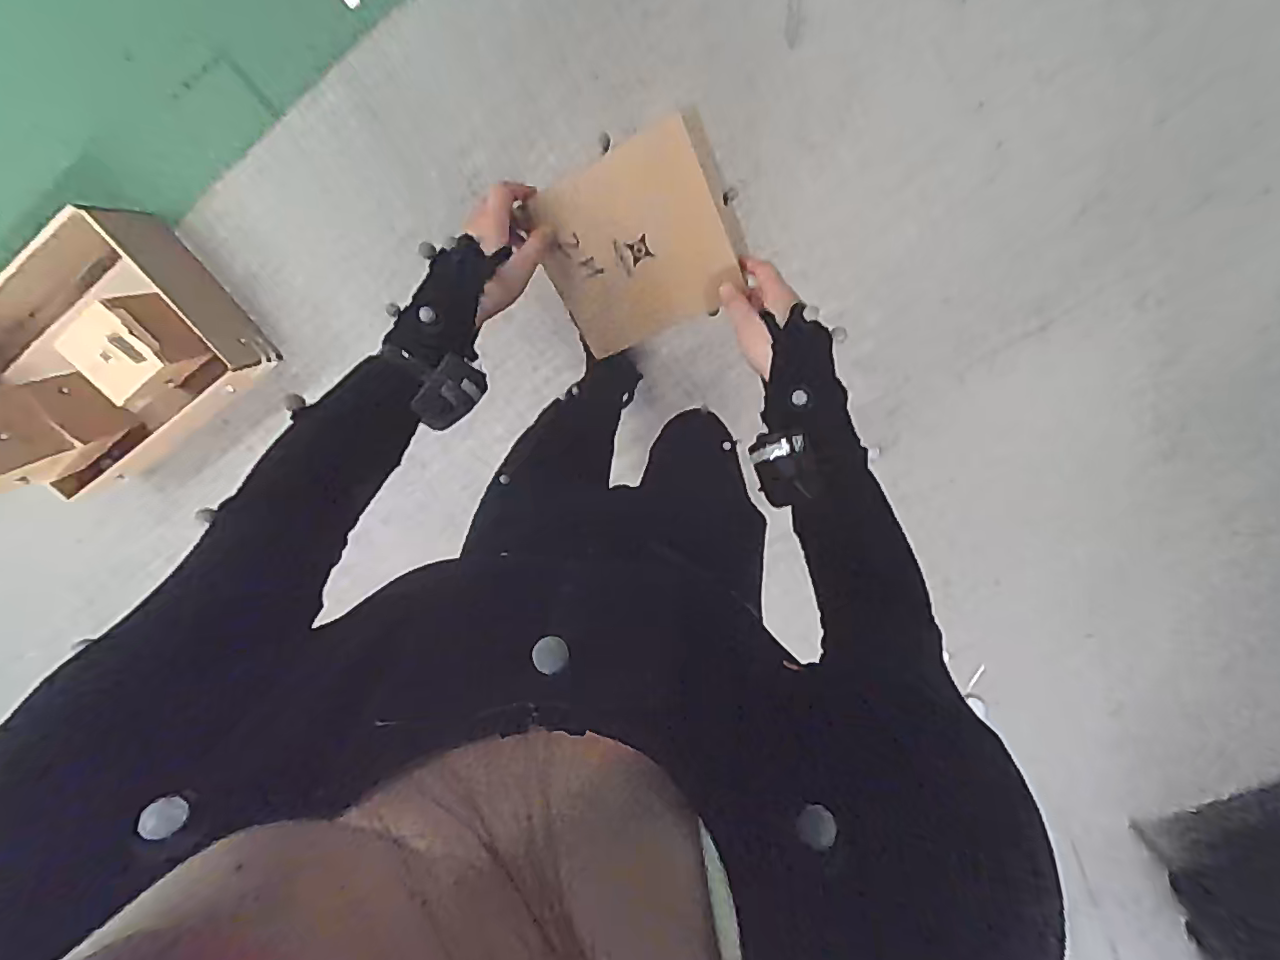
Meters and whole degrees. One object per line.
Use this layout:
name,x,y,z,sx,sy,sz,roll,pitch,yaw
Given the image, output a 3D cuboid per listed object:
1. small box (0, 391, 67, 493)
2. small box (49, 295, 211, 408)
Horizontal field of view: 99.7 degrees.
small box,-1.389,-0.063,1.130,0.168,0.176,0.179,-29,111,12
small box,-1.117,-0.293,1.206,0.179,0.176,0.168,-30,111,14
